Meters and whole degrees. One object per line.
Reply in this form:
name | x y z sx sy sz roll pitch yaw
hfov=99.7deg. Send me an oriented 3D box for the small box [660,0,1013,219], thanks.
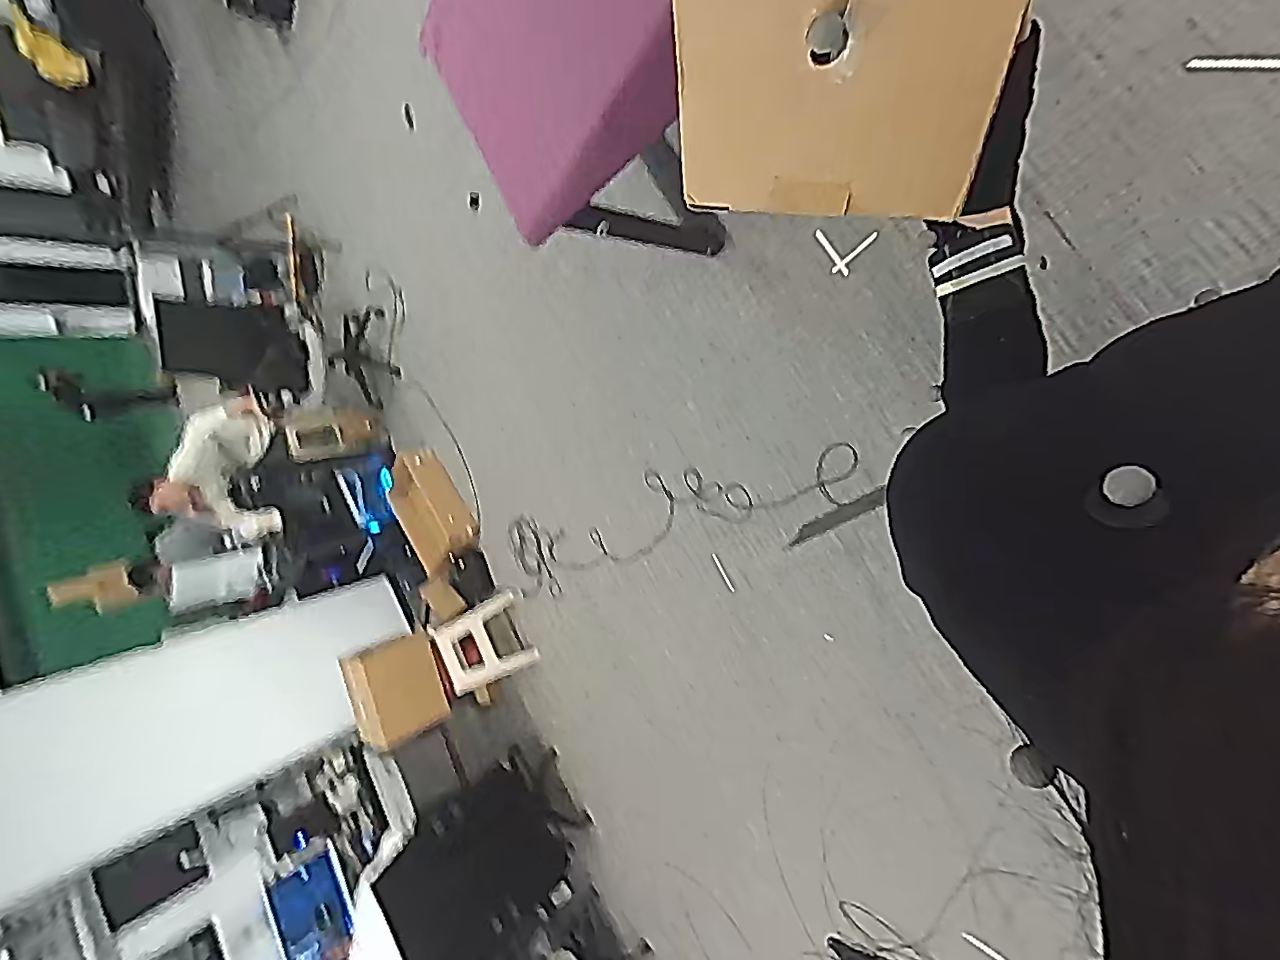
small box | 0.115 -0.272 0.305 0.168 0.179 0.176 14 144 22
